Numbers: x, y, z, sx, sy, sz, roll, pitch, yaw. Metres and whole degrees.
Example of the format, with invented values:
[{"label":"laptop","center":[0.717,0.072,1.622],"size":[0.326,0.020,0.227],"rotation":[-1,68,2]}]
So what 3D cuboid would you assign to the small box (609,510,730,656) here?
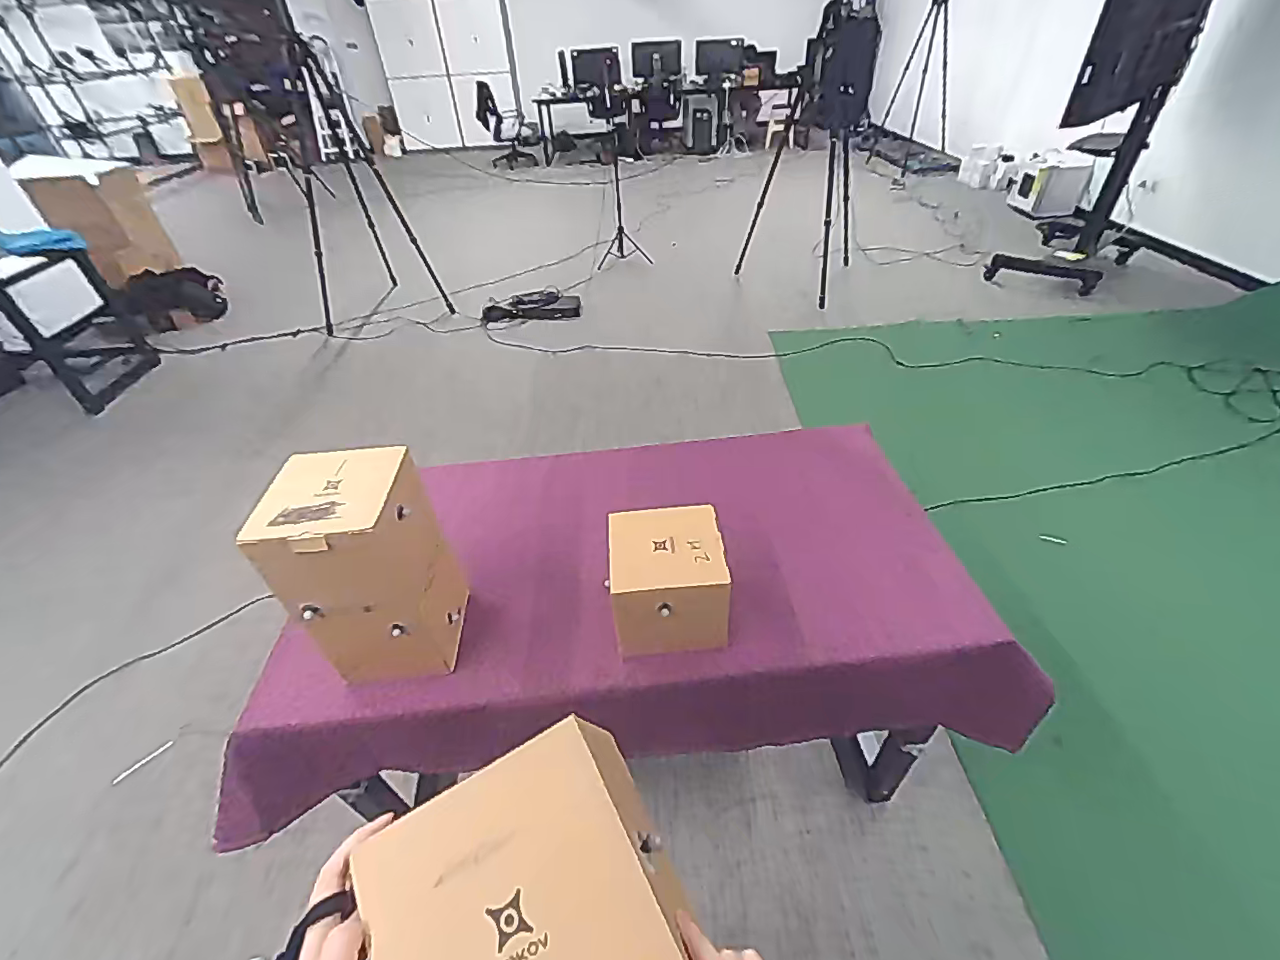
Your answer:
[{"label":"small box","center":[0.044,0.169,0.876],"size":[0.179,0.176,0.168],"rotation":[-4,41,0]}]

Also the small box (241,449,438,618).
[{"label":"small box","center":[-0.400,0.078,0.762],"size":[0.168,0.176,0.179],"rotation":[-5,39,-3]}]

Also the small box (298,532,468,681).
[{"label":"small box","center":[-0.394,0.205,0.867],"size":[0.179,0.176,0.168],"rotation":[-5,40,-3]}]
